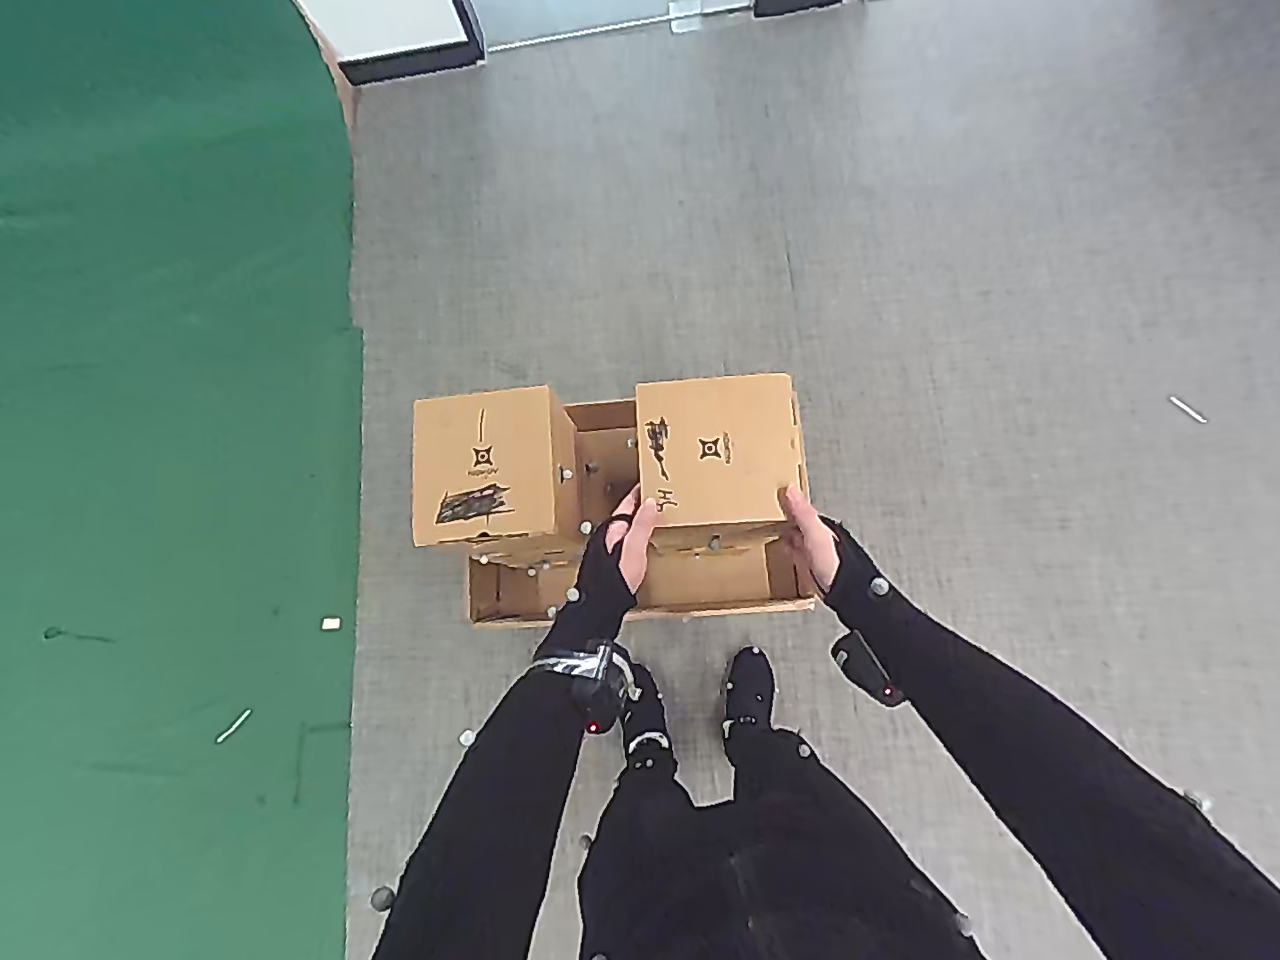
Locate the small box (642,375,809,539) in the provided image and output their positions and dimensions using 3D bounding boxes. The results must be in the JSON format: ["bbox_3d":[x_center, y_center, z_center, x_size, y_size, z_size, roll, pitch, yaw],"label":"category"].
[{"bbox_3d":[0.091,-0.019,0.660,0.179,0.176,0.168,-2,78,2],"label":"small box"}]

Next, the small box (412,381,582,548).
[{"bbox_3d":[-0.170,-0.007,0.689,0.168,0.176,0.179,-5,77,3],"label":"small box"}]

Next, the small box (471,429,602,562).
[{"bbox_3d":[-0.154,0.032,0.847,0.168,0.176,0.179,-4,78,4],"label":"small box"}]

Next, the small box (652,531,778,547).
[{"bbox_3d":[0.107,0.016,0.833,0.179,0.176,0.168,-2,80,3],"label":"small box"}]
